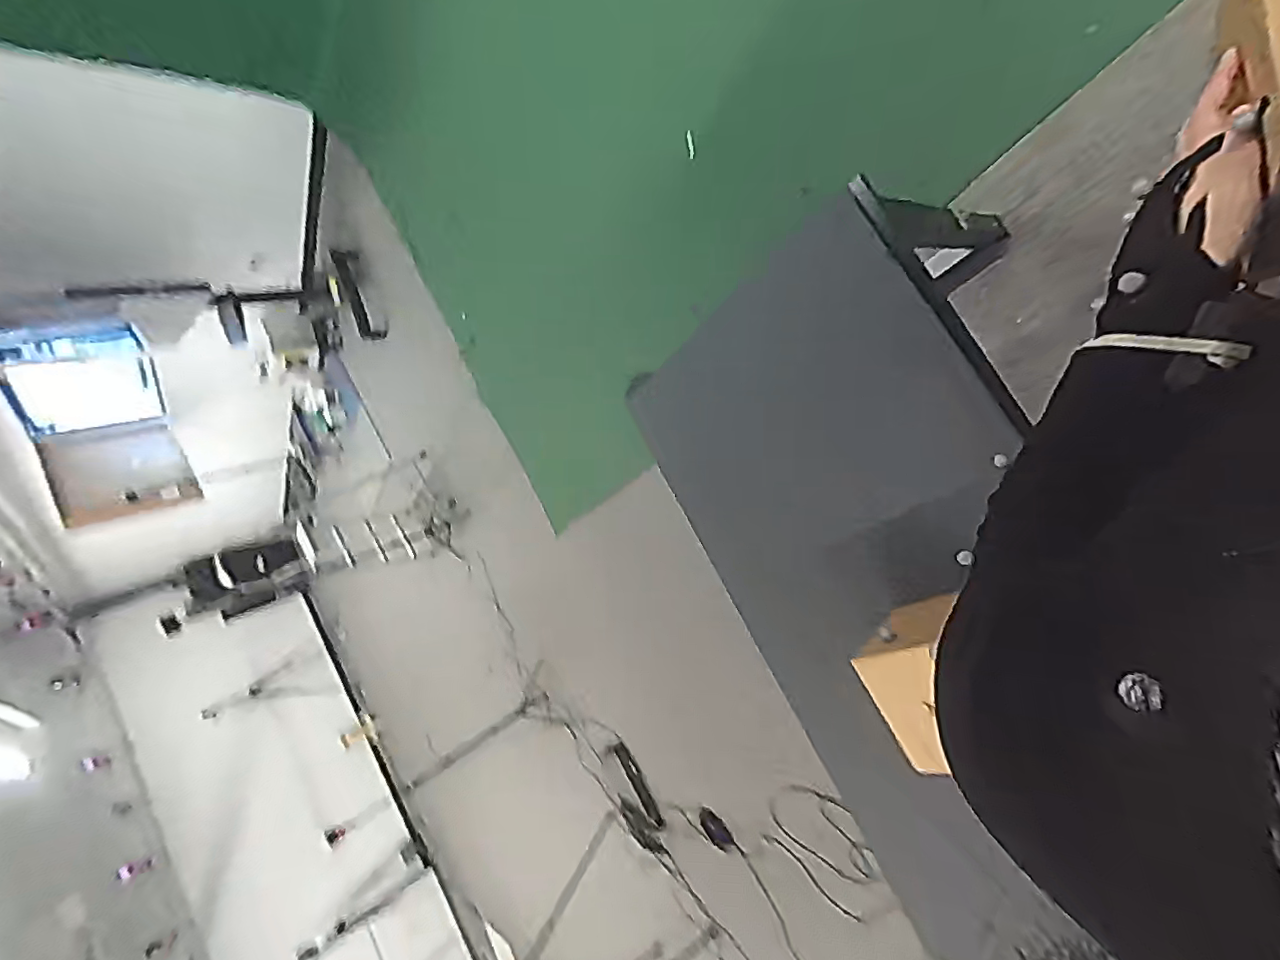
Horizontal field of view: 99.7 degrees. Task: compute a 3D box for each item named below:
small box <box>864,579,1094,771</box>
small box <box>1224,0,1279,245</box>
[{"bbox_3d":[0.443,0.254,0.711,0.179,0.176,0.168,-41,76,48],"label":"small box"},{"bbox_3d":[0.466,-0.269,0.303,0.168,0.176,0.179,-8,73,42],"label":"small box"}]
